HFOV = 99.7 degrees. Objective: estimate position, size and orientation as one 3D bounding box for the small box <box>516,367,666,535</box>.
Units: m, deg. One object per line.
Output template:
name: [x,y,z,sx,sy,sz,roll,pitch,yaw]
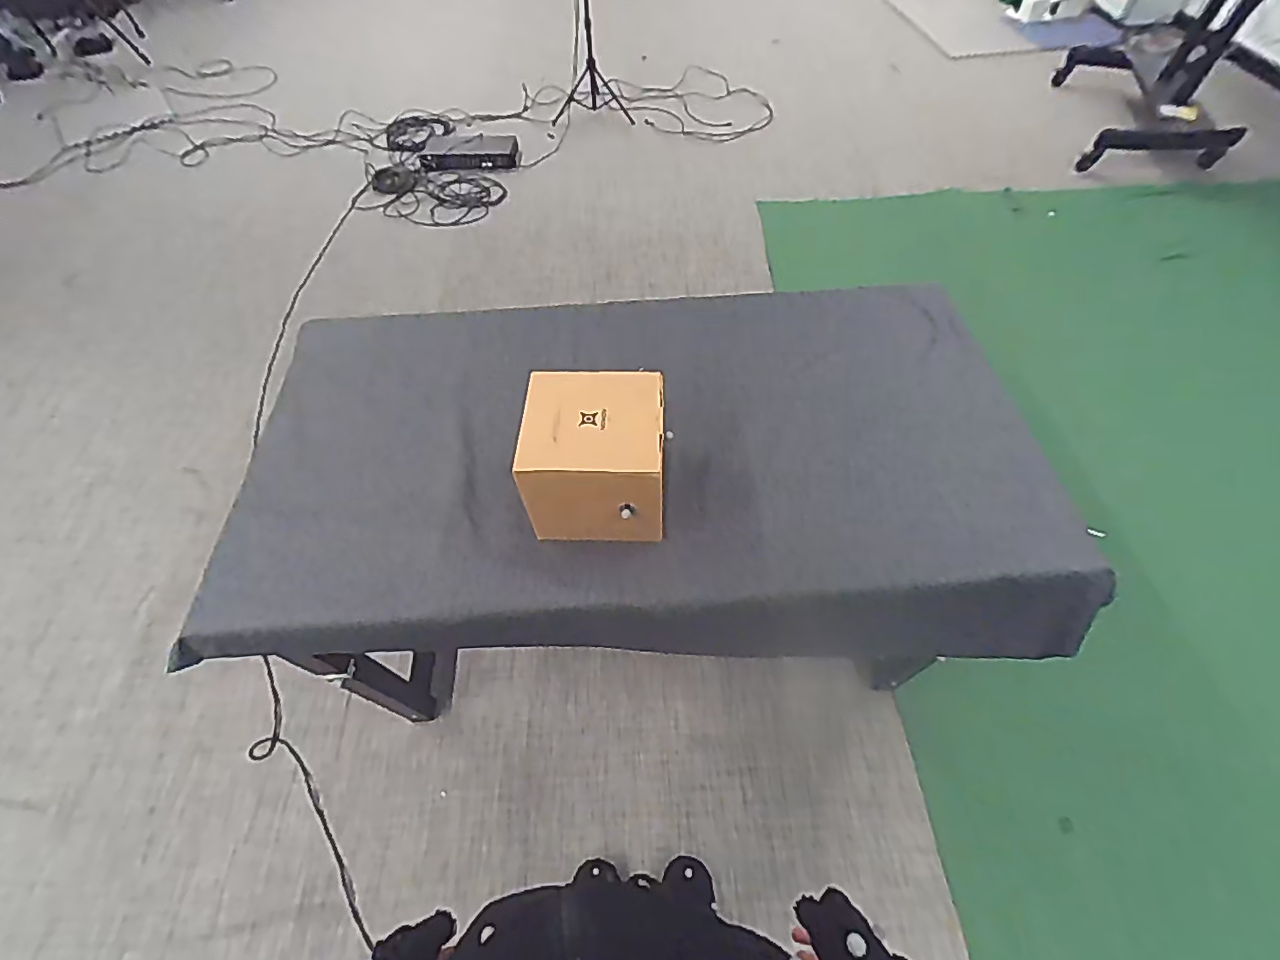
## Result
small box: [-0.054,-0.035,0.739,0.179,0.176,0.168,0,55,3]
